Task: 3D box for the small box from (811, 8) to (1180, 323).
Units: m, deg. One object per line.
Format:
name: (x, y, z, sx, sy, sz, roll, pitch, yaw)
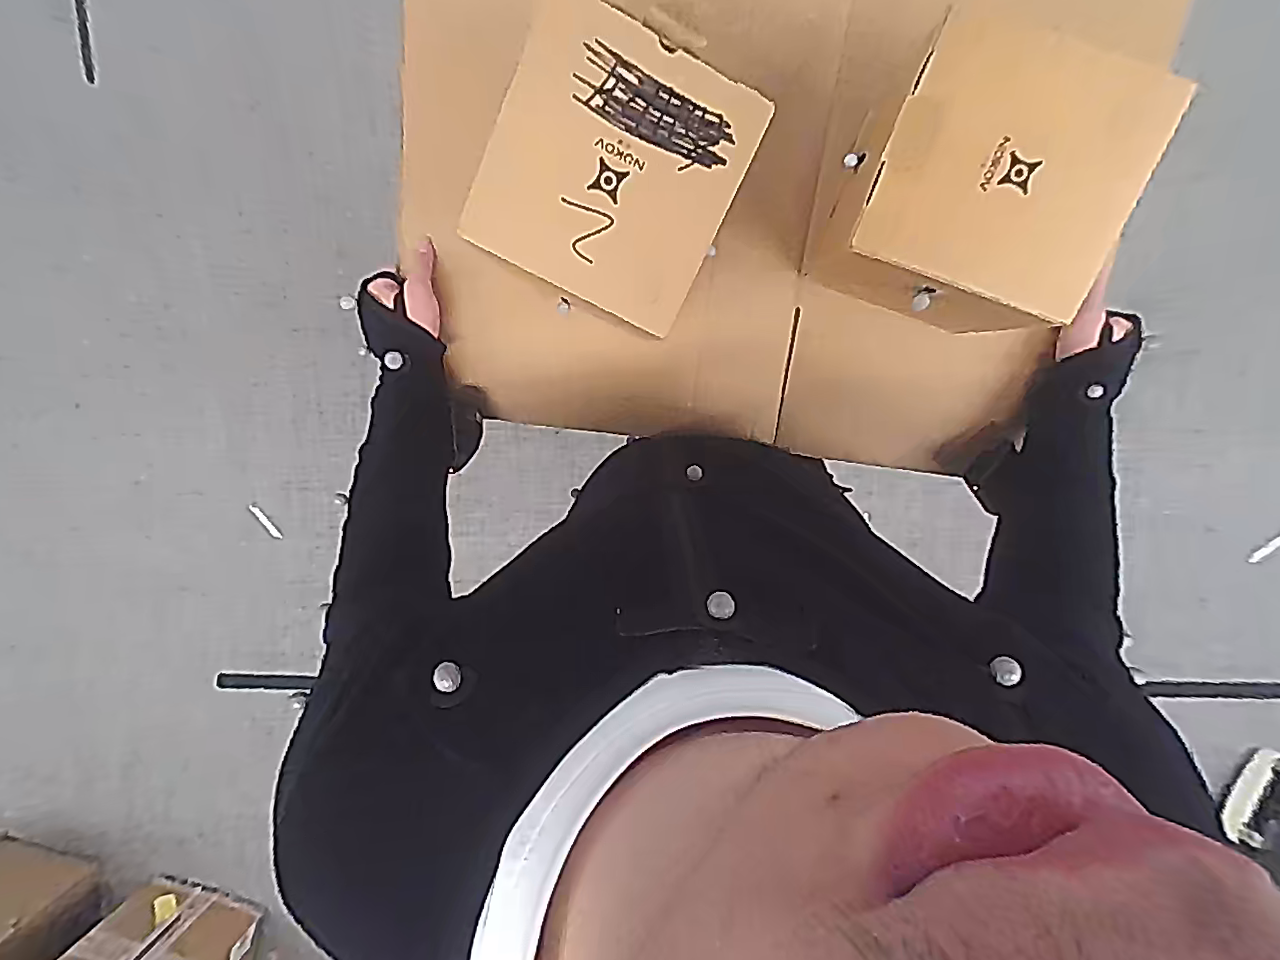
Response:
small box: (0.274, -0.244, 0.471, 0.179, 0.176, 0.168, 20, 104, 1)
